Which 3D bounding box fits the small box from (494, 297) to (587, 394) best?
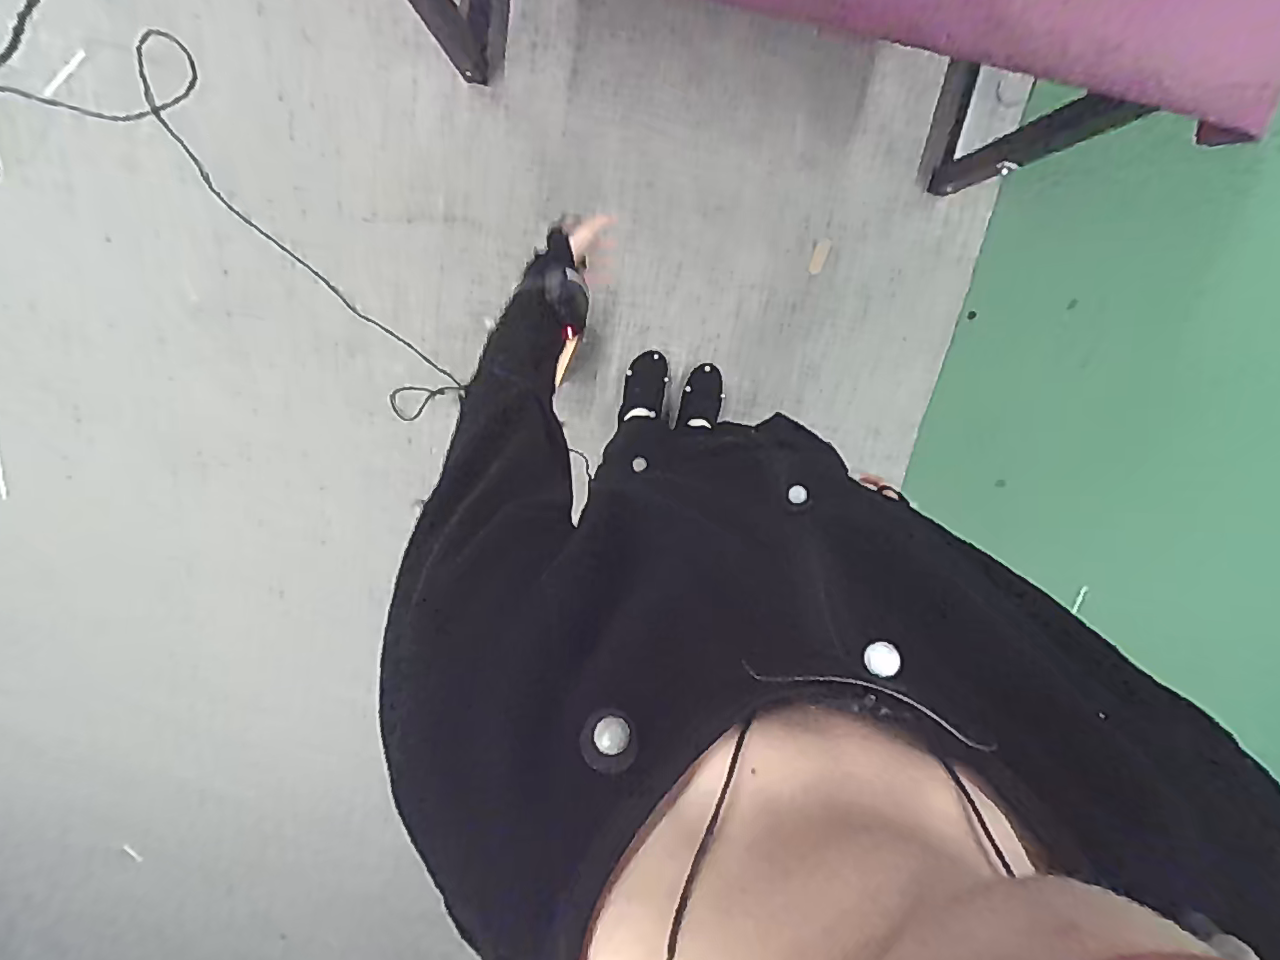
[{"bbox_3d":[-0.240,-0.336,1.343,0.168,0.176,0.179,24,105,-7],"label":"small box"}]
